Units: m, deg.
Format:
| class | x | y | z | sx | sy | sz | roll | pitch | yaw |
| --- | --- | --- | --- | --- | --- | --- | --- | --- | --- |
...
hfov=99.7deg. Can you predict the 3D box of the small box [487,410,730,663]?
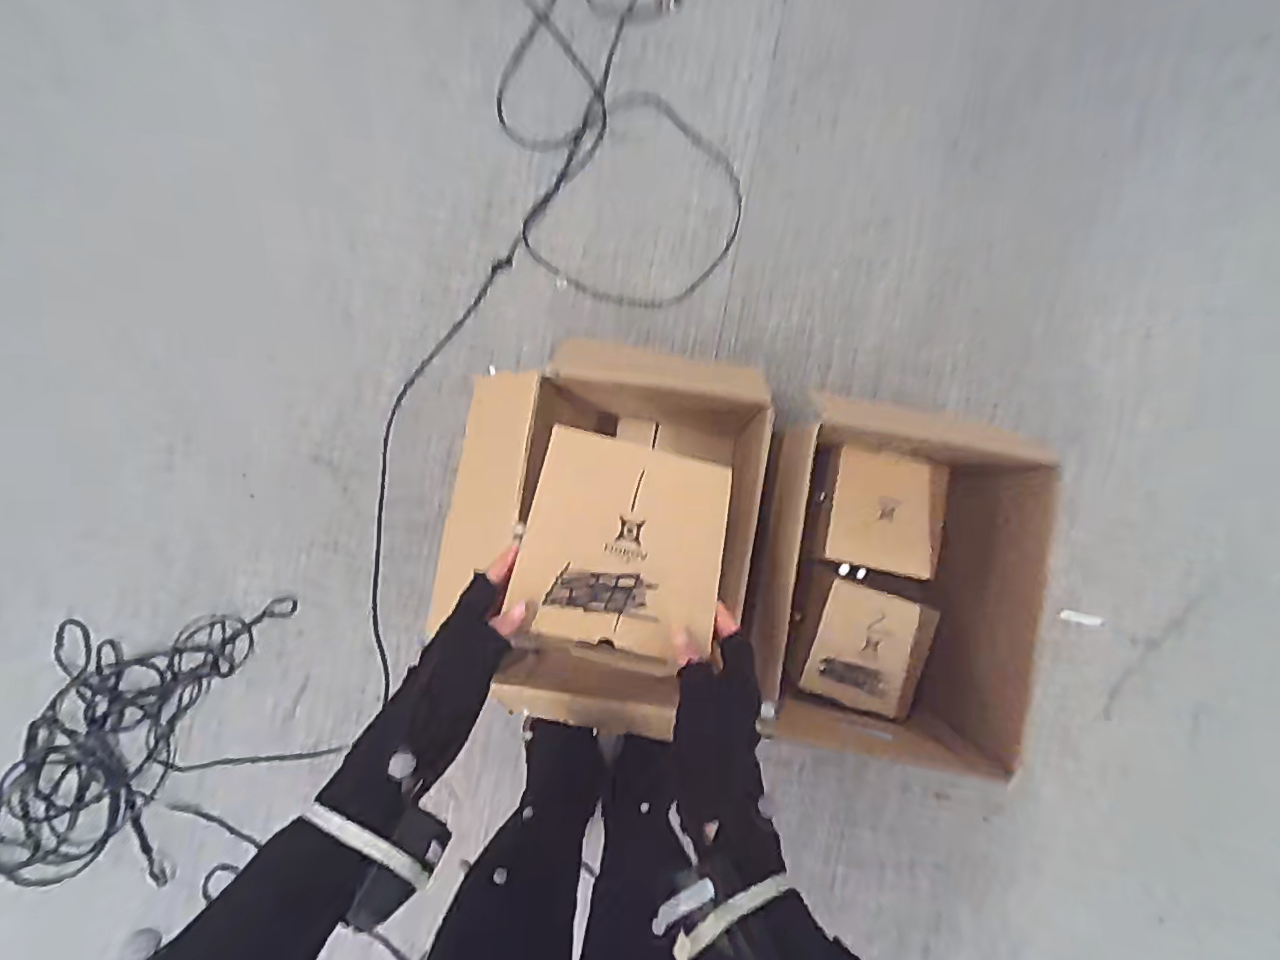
| class | x | y | z | sx | sy | sz | roll | pitch | yaw |
| --- | --- | --- | --- | --- | --- | --- | --- | --- | --- |
| small box | -0.031 | 0.065 | 0.501 | 0.168 | 0.176 | 0.179 | 14 | 68 | -7 |
